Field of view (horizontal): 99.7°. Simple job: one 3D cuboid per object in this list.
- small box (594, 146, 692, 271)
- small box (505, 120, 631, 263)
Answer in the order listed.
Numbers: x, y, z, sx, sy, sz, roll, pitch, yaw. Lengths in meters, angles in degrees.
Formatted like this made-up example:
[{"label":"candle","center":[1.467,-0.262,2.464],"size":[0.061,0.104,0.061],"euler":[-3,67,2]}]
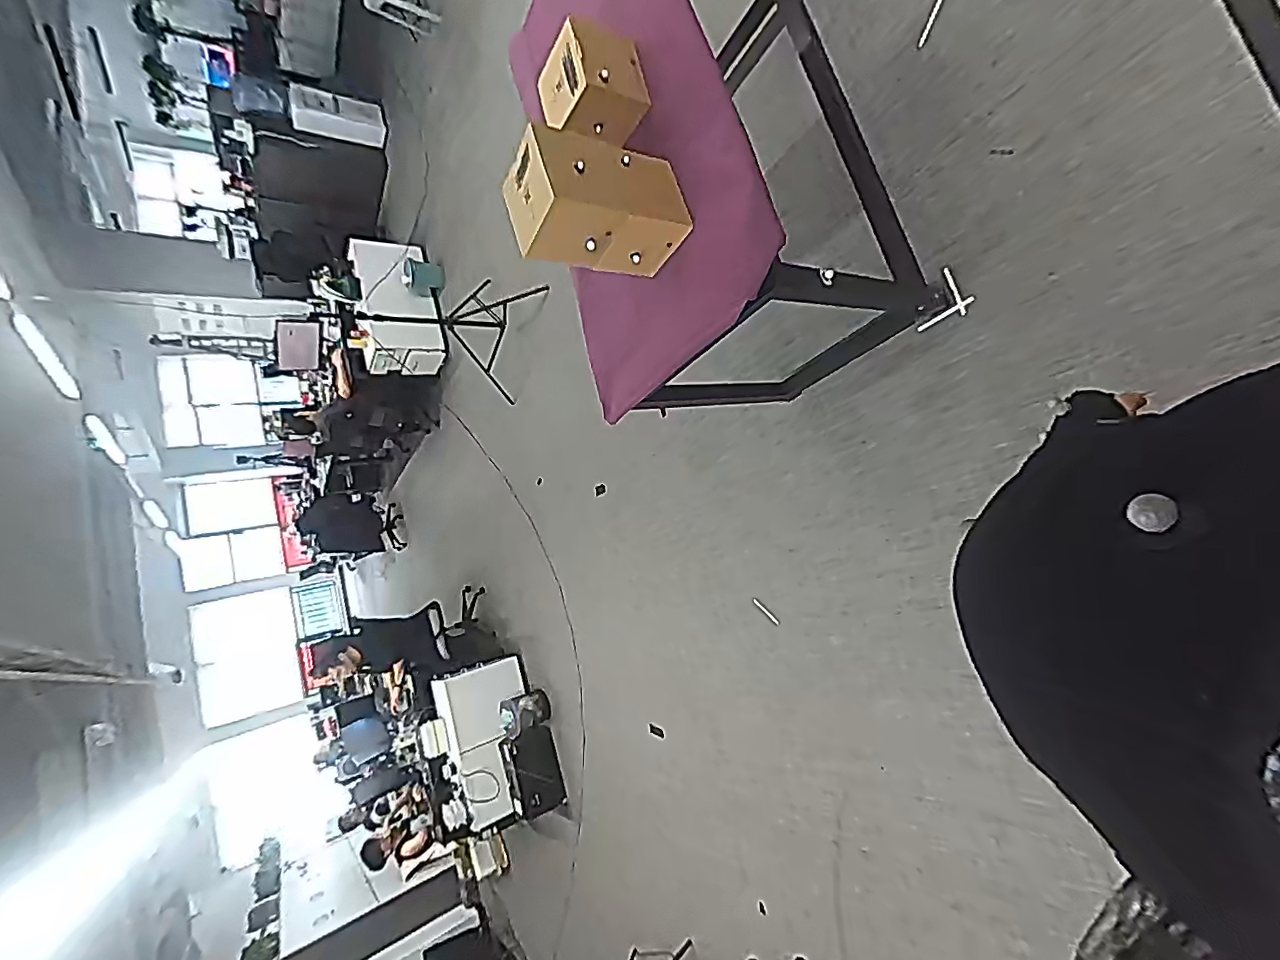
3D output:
[{"label":"small box","center":[-0.013,-0.572,1.165],"size":[0.168,0.176,0.179],"euler":[-35,69,52]},{"label":"small box","center":[-0.144,-0.555,1.066],"size":[0.168,0.176,0.179],"euler":[-35,69,52]}]
